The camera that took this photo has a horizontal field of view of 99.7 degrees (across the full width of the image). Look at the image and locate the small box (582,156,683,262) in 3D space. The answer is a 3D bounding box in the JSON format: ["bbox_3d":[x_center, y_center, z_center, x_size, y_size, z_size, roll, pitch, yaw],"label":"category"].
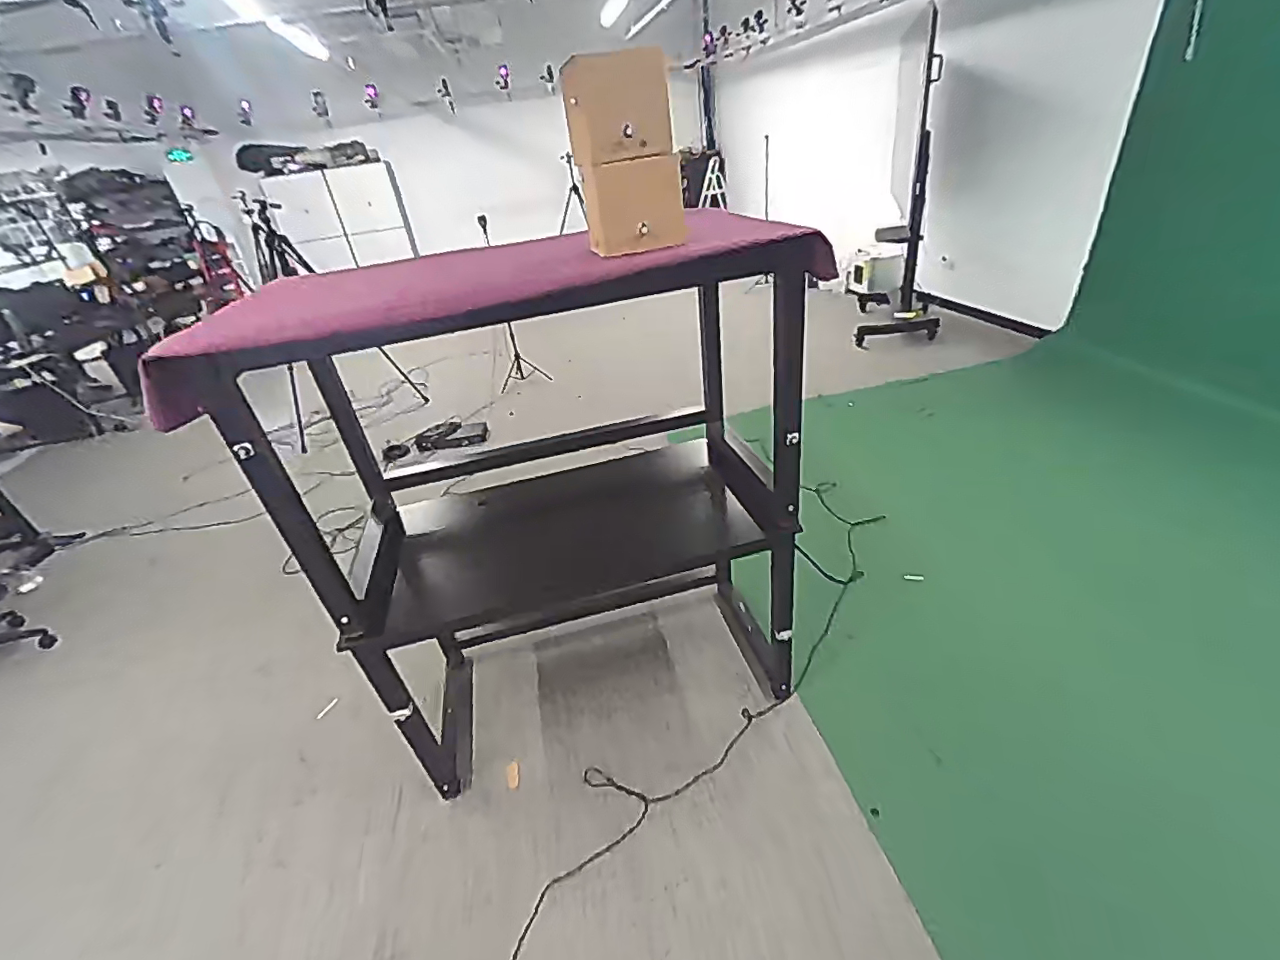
[{"bbox_3d":[-0.013,-0.565,1.126,0.179,0.176,0.168,-13,30,-8],"label":"small box"}]
